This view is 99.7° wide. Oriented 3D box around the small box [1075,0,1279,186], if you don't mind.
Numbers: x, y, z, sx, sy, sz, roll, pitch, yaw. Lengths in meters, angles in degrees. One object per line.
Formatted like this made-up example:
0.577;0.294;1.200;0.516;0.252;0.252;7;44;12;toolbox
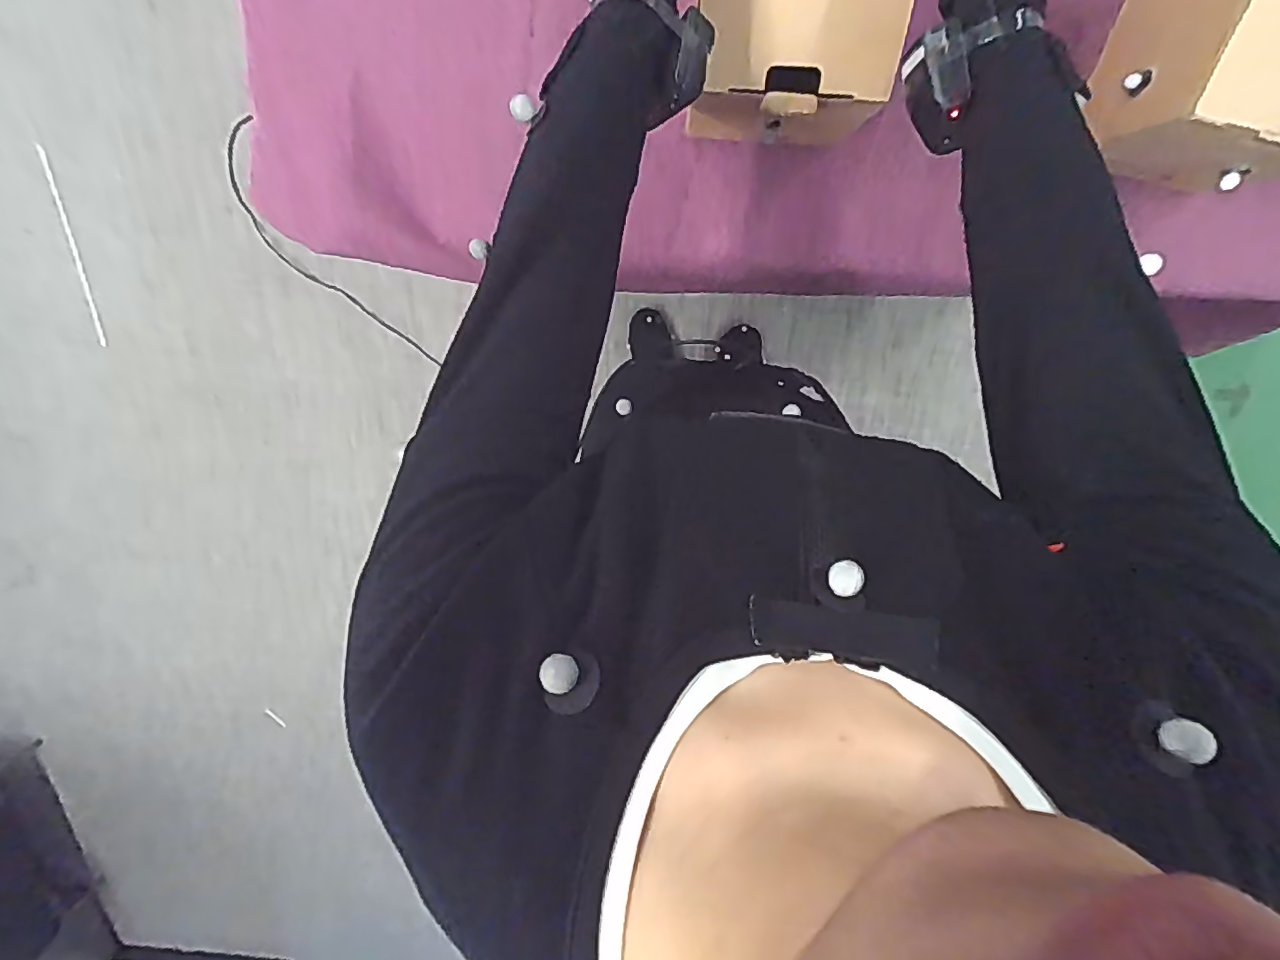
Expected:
0.538;-0.376;0.471;0.168;0.176;0.179;14;111;-1;small box
